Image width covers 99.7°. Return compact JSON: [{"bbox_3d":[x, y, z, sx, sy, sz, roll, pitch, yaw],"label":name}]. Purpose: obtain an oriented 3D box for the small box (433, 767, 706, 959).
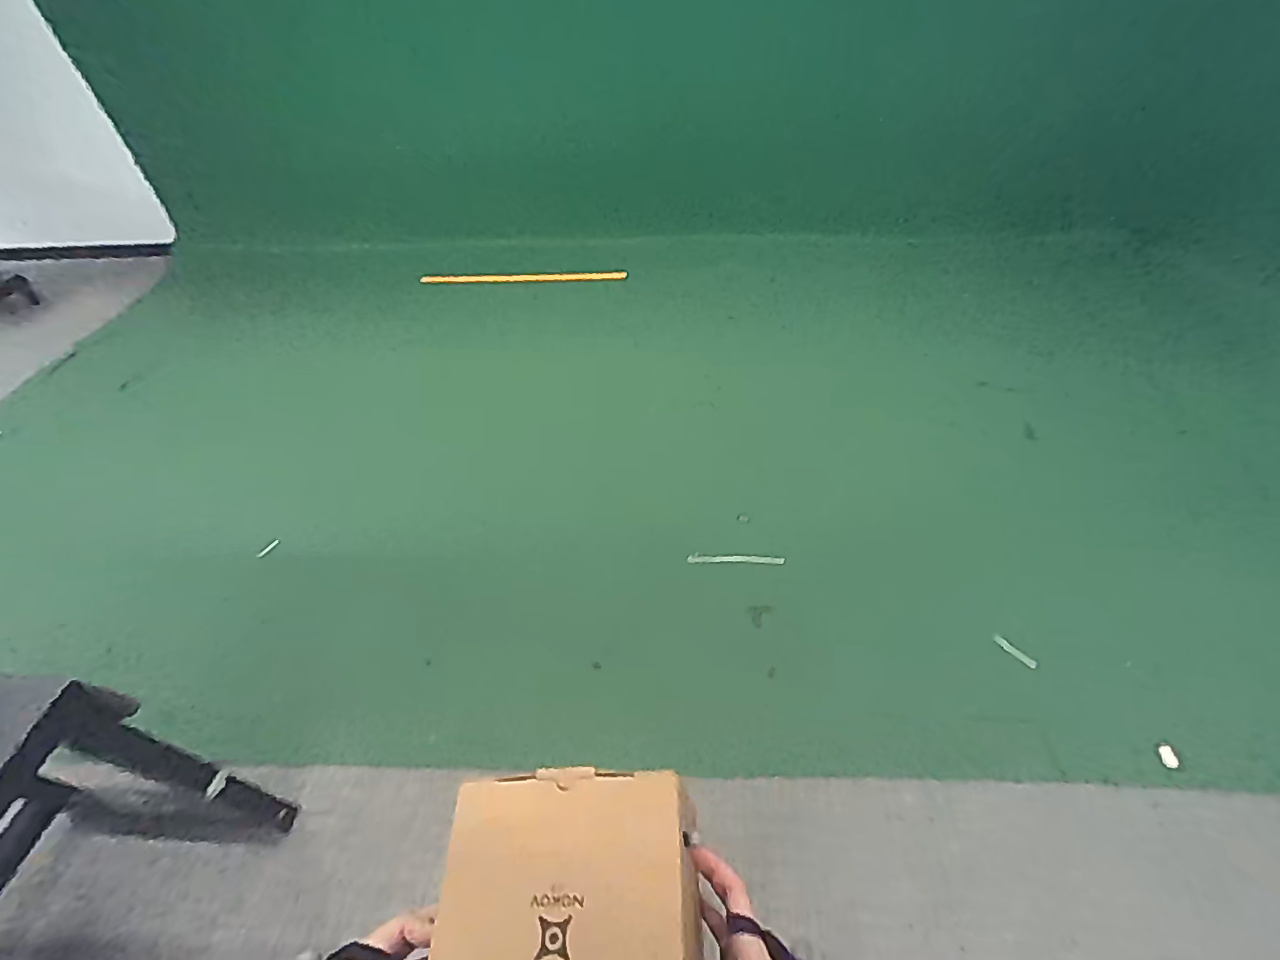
[{"bbox_3d":[-0.038,0.333,0.412,0.168,0.176,0.179,-5,50,8],"label":"small box"}]
